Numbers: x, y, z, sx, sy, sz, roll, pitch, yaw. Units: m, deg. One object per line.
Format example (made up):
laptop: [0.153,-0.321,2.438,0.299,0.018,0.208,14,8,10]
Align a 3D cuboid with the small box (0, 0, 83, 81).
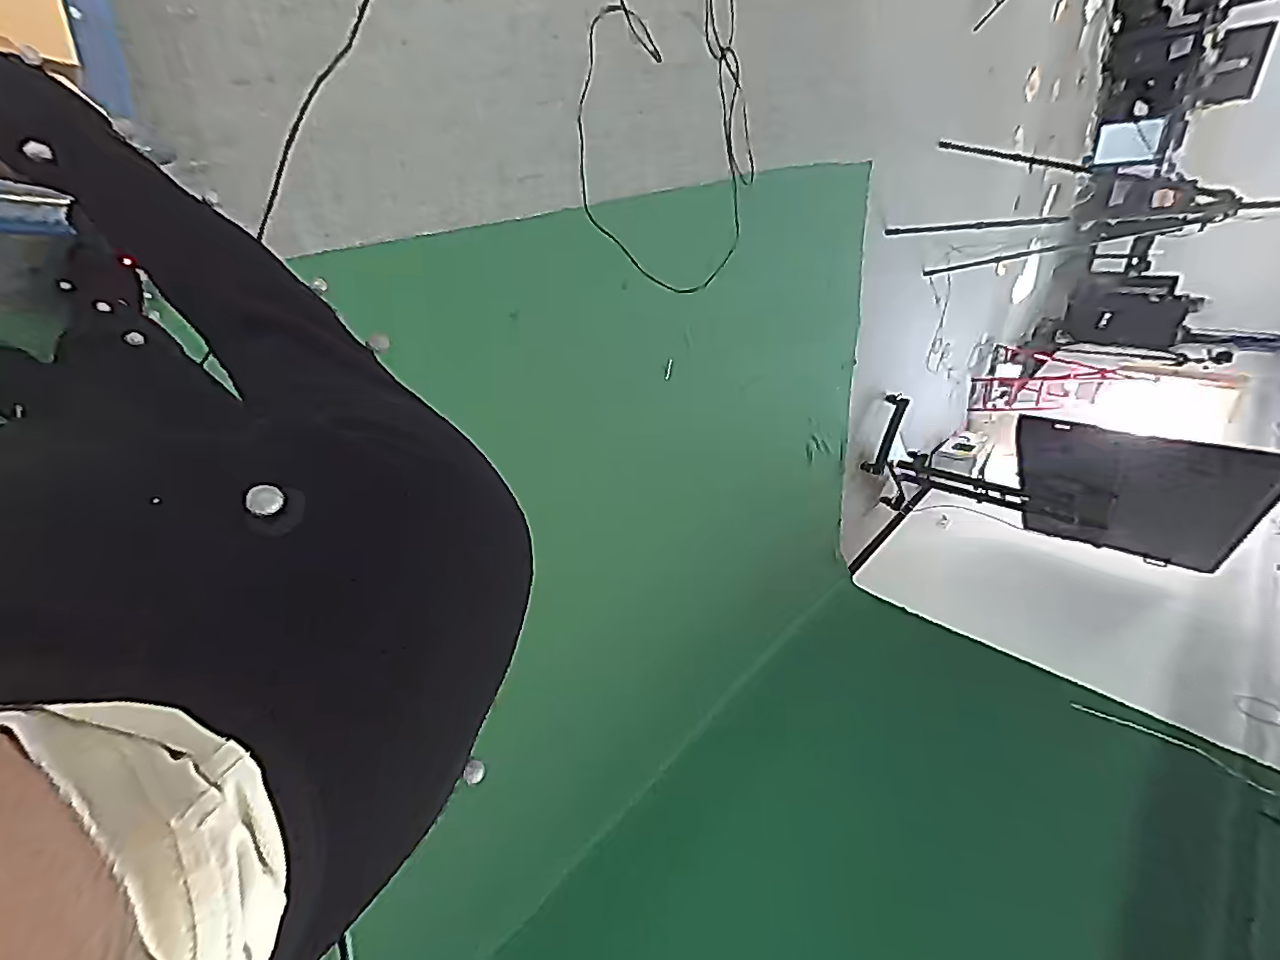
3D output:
small box: [-0.925,-0.696,0.757,0.168,0.176,0.179,-18,119,-42]
